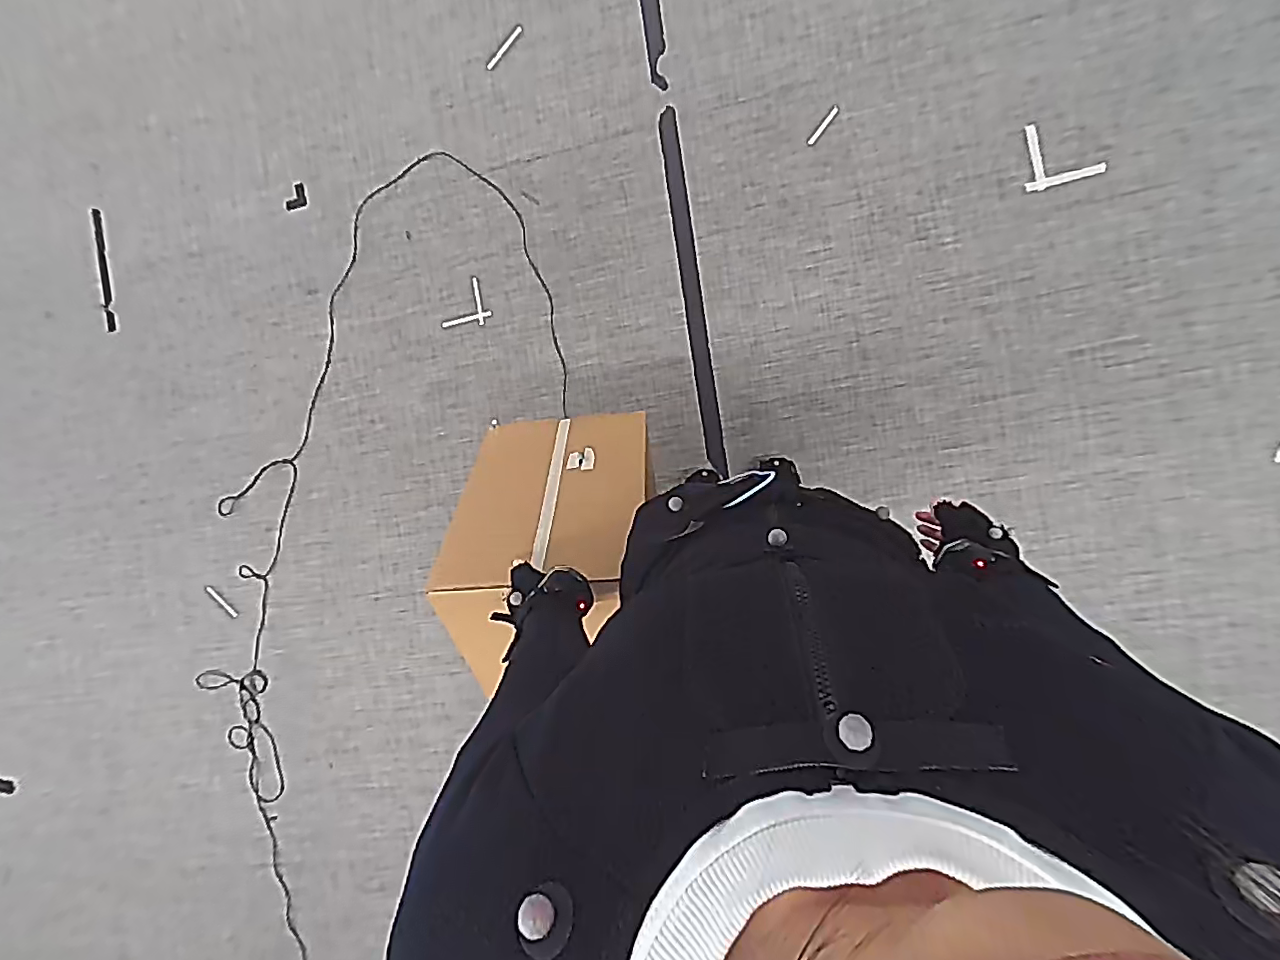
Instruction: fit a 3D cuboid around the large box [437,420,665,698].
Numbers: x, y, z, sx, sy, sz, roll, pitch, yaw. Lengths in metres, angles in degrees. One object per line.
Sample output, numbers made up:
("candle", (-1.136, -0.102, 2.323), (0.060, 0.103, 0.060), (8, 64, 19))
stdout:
("large box", (-0.126, 0.137, 1.003), (0.320, 0.408, 0.320), (-4, 130, 4))
